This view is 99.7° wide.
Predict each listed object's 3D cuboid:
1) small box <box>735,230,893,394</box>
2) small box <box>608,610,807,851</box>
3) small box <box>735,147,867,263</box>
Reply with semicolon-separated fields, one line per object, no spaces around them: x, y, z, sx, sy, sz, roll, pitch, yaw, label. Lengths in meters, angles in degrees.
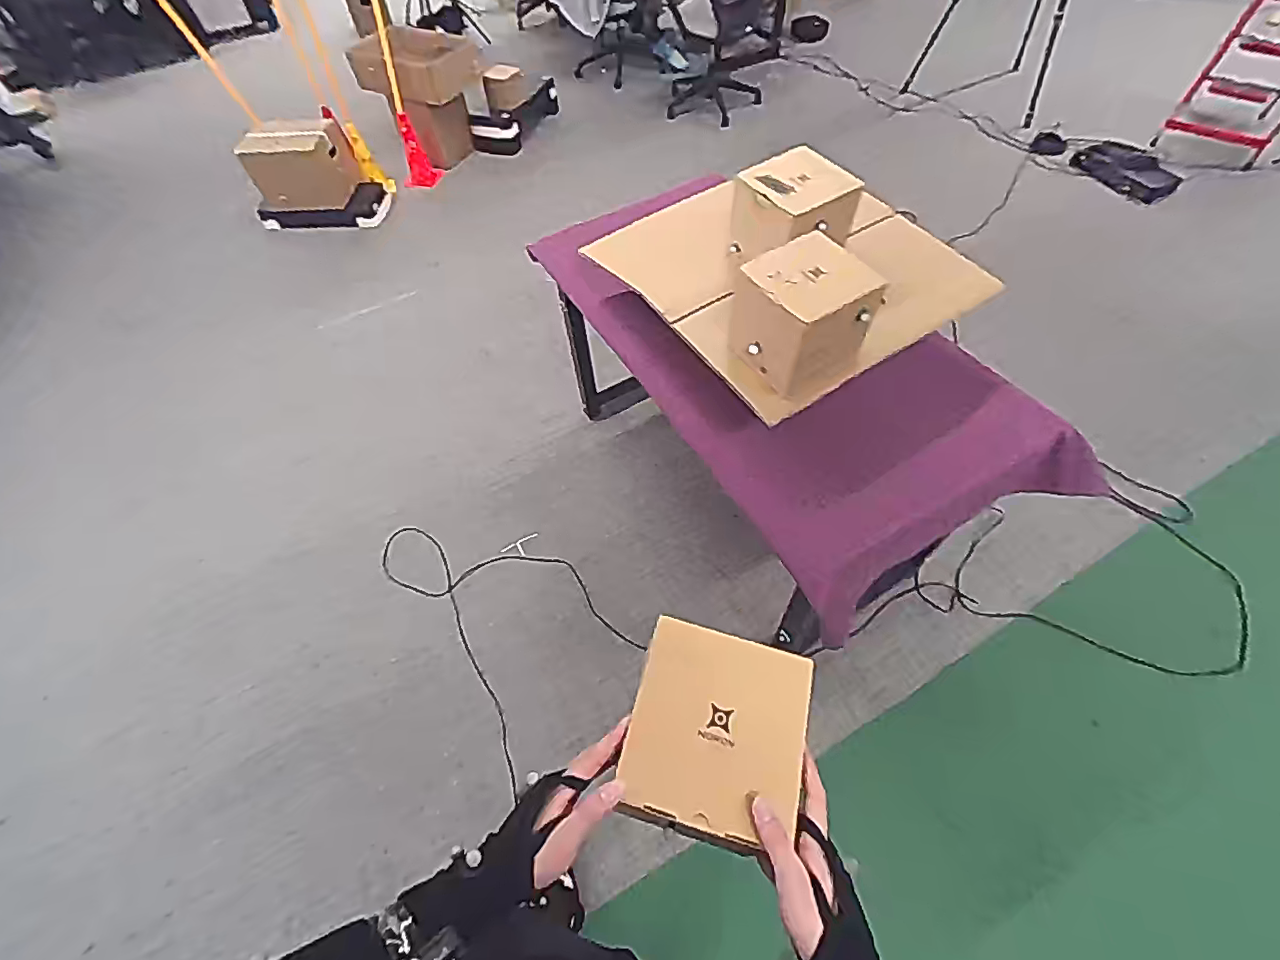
0.281;-0.281;0.919;0.179;0.176;0.168;-29;61;-15;small box
0.064;0.267;0.577;0.168;0.176;0.179;15;58;5;small box
0.301;-0.507;1.057;0.179;0.176;0.168;-30;62;-16;small box
